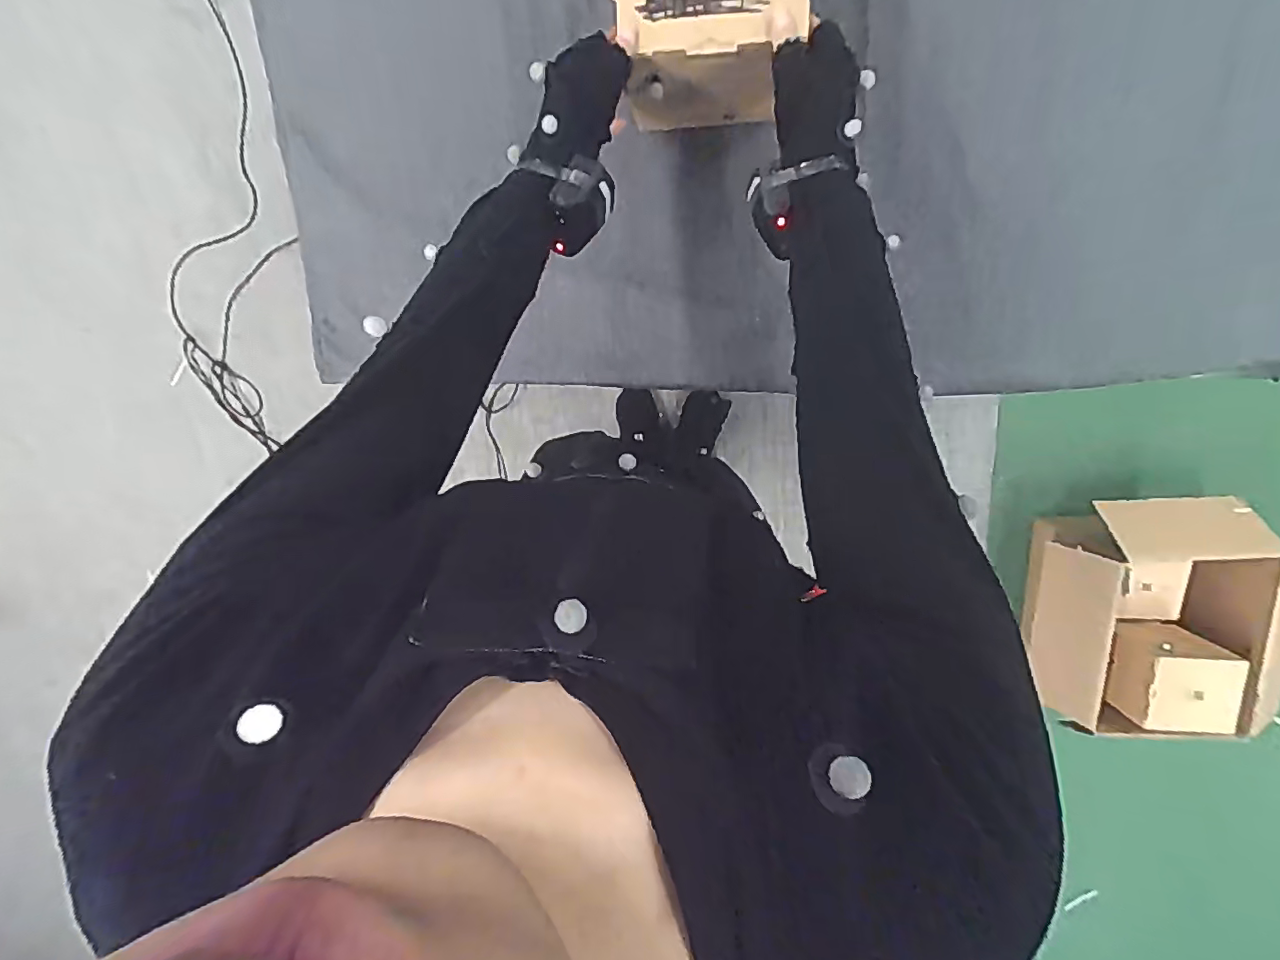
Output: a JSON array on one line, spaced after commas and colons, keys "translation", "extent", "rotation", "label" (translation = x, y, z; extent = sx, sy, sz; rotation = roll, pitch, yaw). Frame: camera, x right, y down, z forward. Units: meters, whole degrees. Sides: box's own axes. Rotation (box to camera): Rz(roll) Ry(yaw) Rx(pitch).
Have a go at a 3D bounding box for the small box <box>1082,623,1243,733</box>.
[{"translation": [1.133, 0.427, 1.188], "extent": [0.179, 0.176, 0.168], "rotation": [2, 100, 4], "label": "small box"}]
